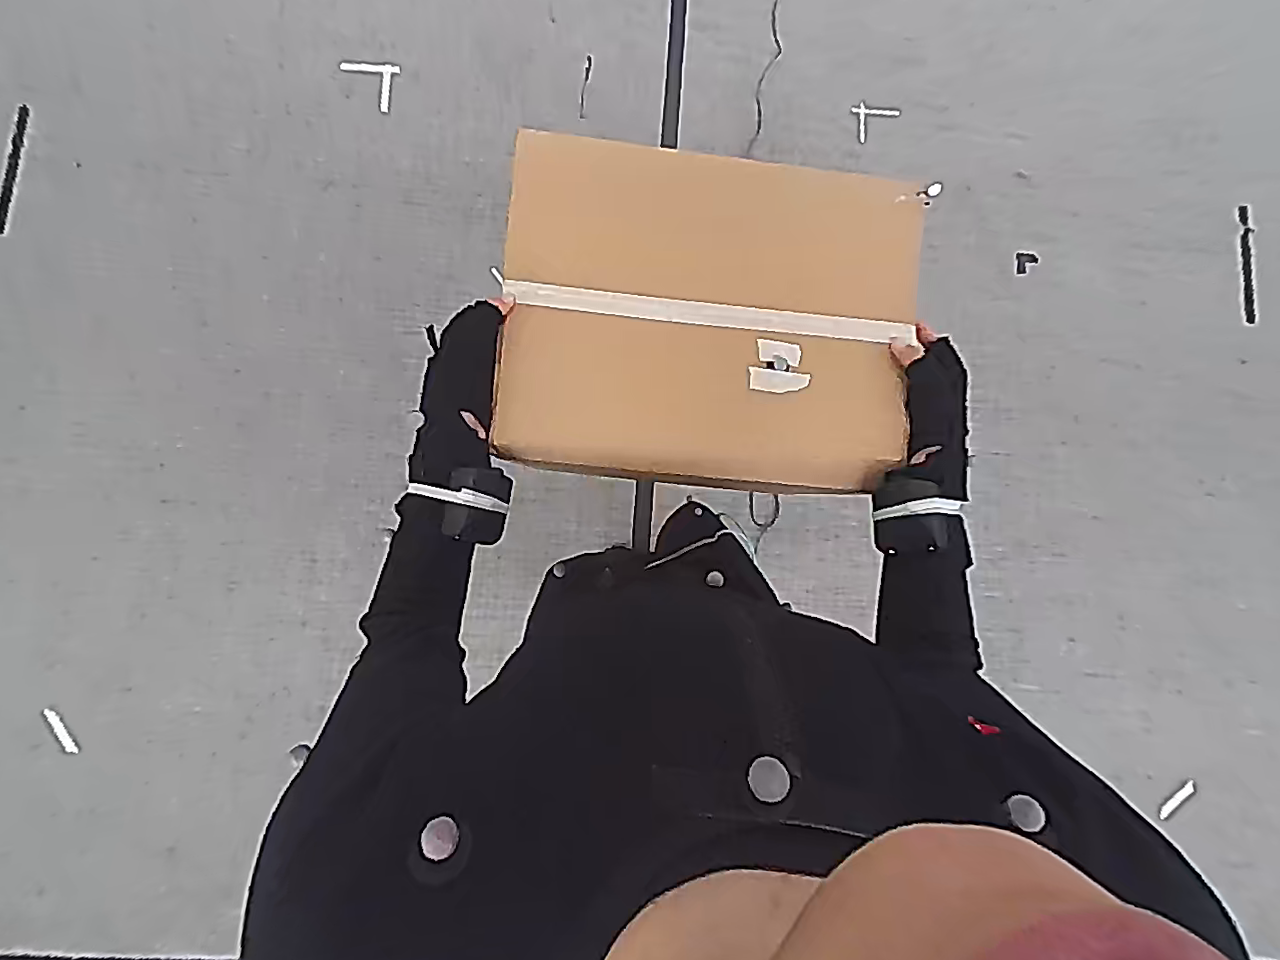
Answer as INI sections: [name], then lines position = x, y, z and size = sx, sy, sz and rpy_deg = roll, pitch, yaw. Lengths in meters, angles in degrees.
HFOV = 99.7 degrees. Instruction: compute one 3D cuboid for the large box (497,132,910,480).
[large box]
position = 0.057, -0.171, 0.686
size = 0.408, 0.320, 0.320
rpy_deg = 6, 90, -4
